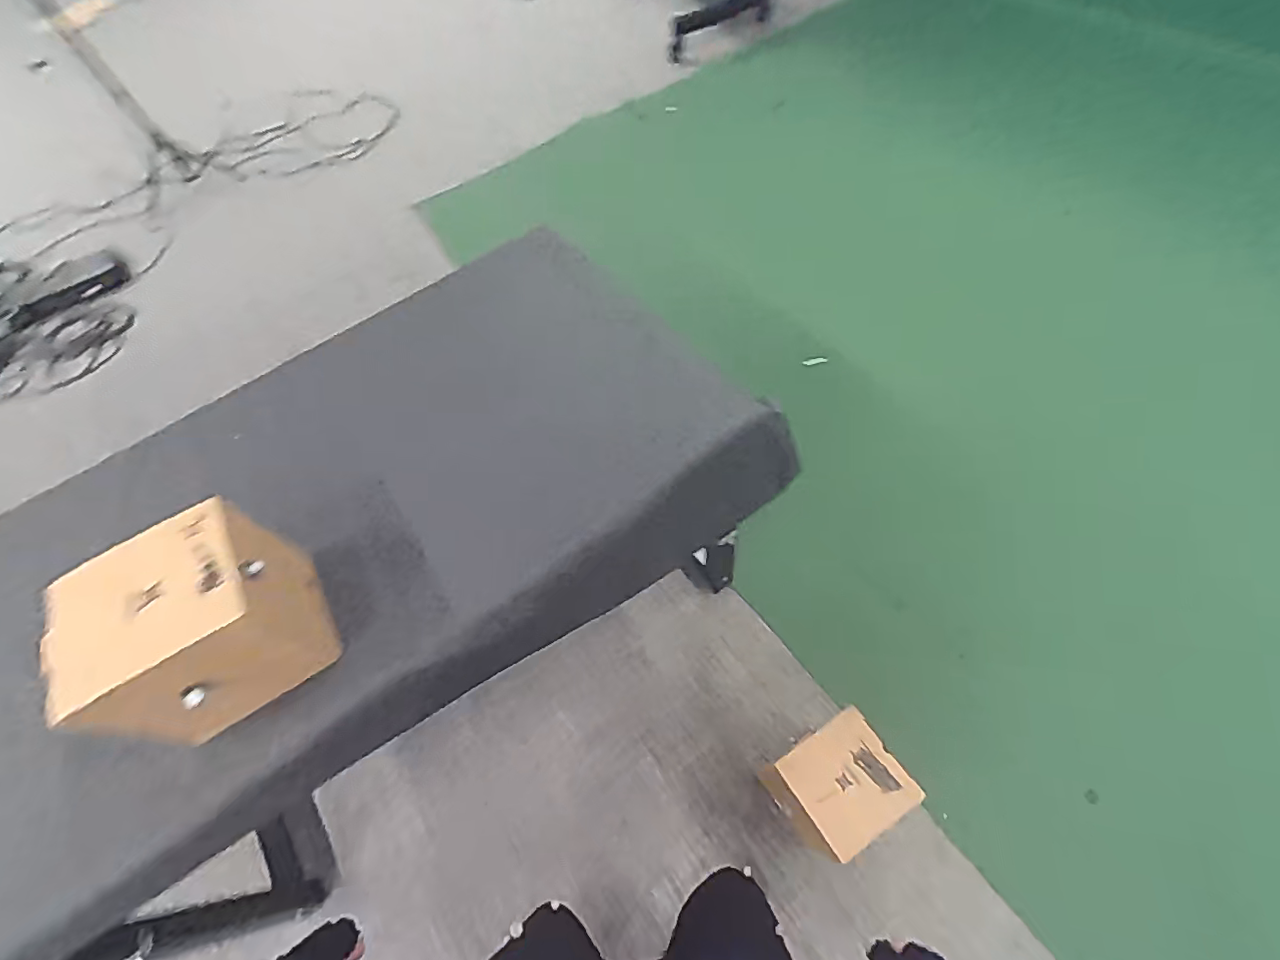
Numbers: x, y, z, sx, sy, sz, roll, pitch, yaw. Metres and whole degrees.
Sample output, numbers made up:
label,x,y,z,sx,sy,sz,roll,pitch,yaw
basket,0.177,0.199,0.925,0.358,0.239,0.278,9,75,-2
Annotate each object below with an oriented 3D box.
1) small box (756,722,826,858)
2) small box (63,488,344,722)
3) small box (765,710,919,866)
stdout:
label,x,y,z,sx,sy,sz,roll,pitch,yaw
small box,0.352,0.620,1.092,0.179,0.176,0.168,-32,60,-11
small box,-0.479,0.147,0.611,0.179,0.176,0.168,-31,60,-11
small box,0.340,0.535,0.951,0.179,0.176,0.168,-30,60,-10
